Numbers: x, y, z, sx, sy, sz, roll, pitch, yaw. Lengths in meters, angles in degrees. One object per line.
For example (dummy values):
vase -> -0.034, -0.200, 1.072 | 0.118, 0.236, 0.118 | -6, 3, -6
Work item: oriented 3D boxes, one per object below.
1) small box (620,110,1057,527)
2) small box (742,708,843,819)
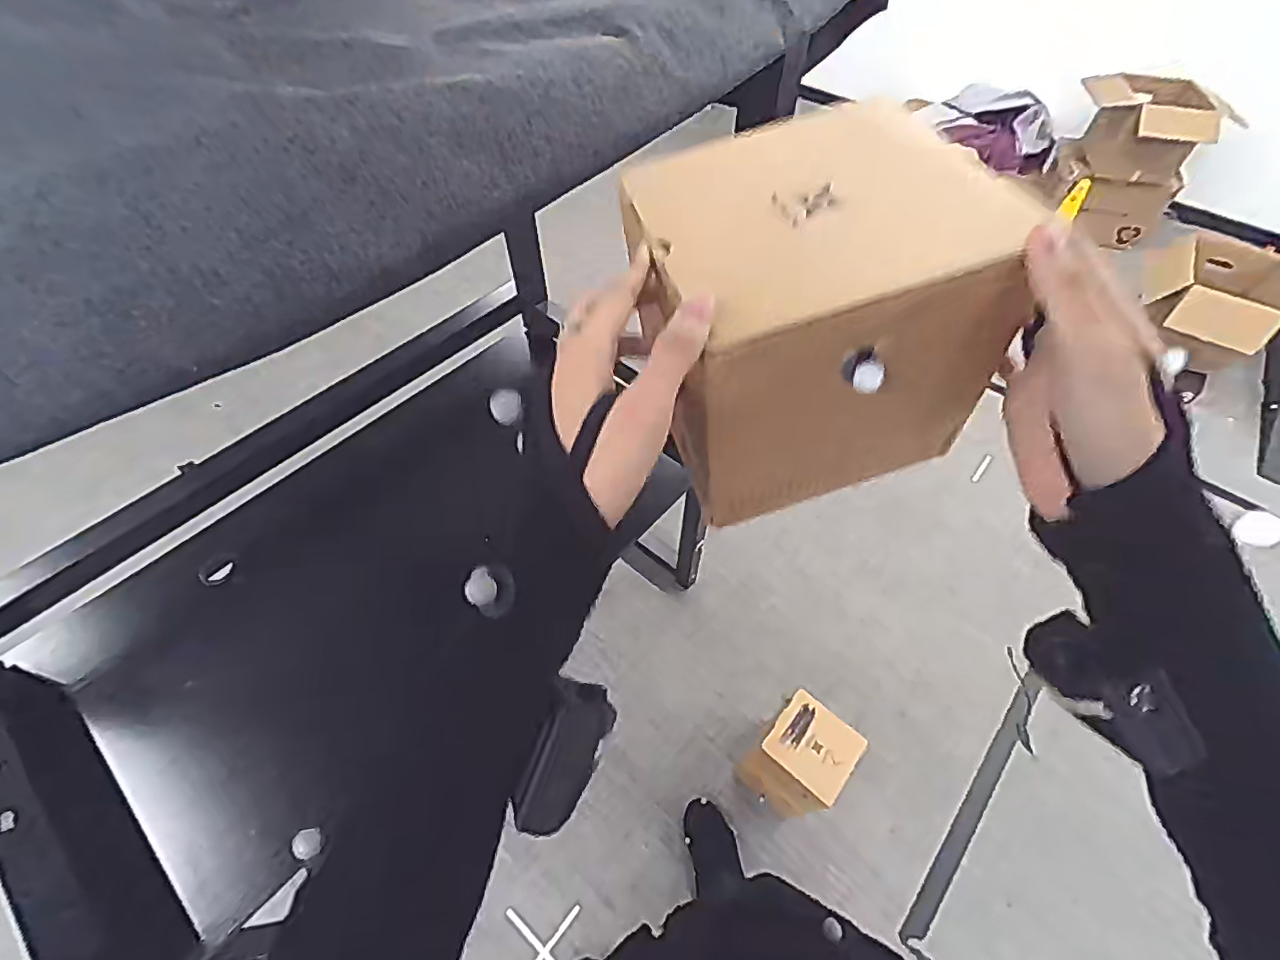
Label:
small box -> 0.101, -0.095, 0.354 | 0.179, 0.176, 0.168 | -18, 55, -1
small box -> 0.373, 0.711, 1.352 | 0.168, 0.176, 0.179 | 34, 62, 21
